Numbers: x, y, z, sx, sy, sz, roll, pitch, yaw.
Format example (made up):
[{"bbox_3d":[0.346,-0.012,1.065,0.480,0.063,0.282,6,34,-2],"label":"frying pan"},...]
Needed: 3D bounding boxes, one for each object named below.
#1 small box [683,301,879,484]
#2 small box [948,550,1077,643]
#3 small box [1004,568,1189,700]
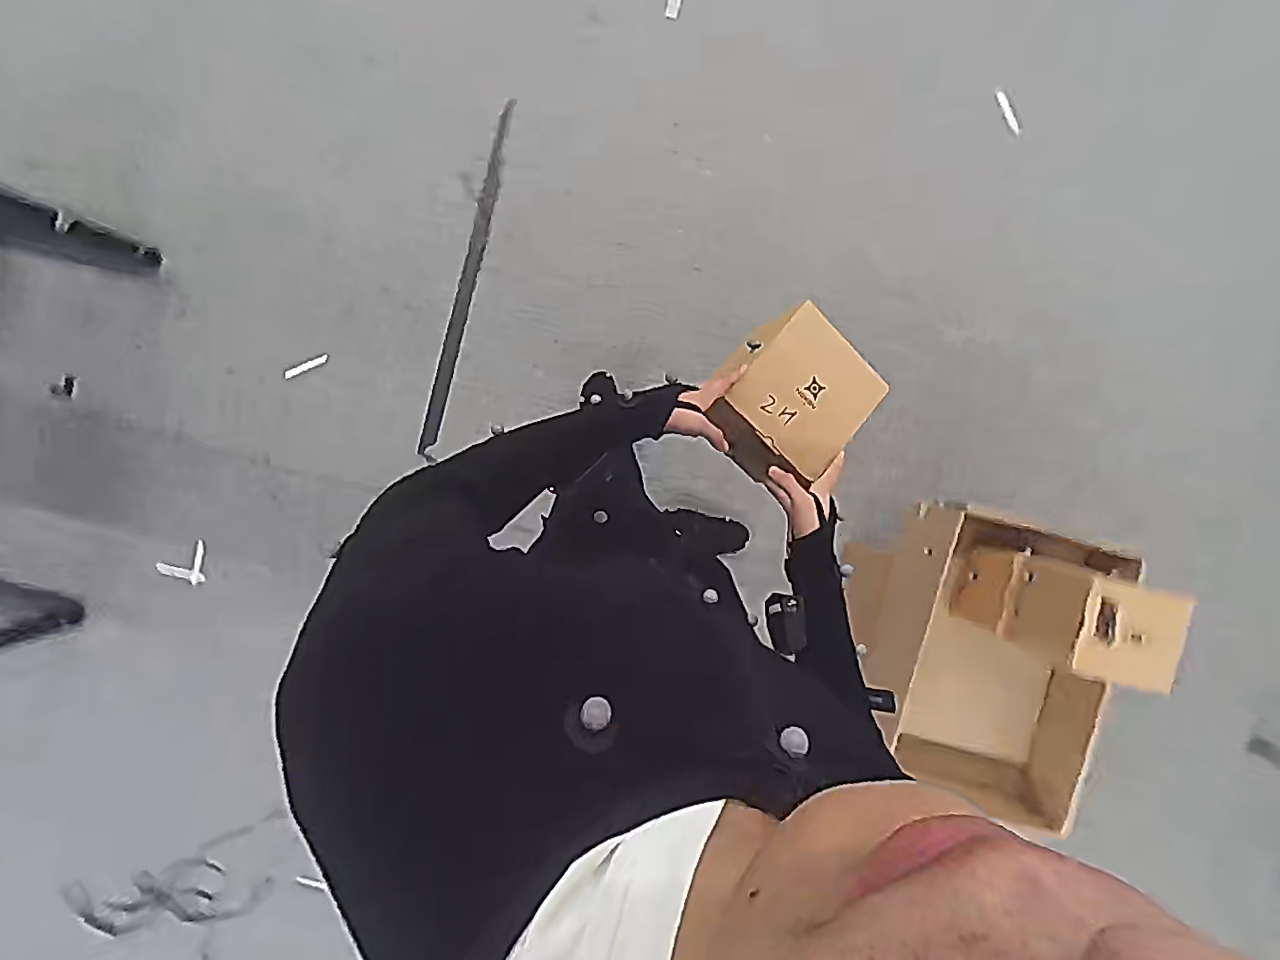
[{"bbox_3d":[0.186,-0.113,0.765,0.168,0.176,0.179,41,83,-10],"label":"small box"},{"bbox_3d":[0.795,0.254,1.139,0.179,0.176,0.168,14,91,0],"label":"small box"},{"bbox_3d":[0.806,0.265,0.975,0.179,0.176,0.168,14,92,0],"label":"small box"}]
